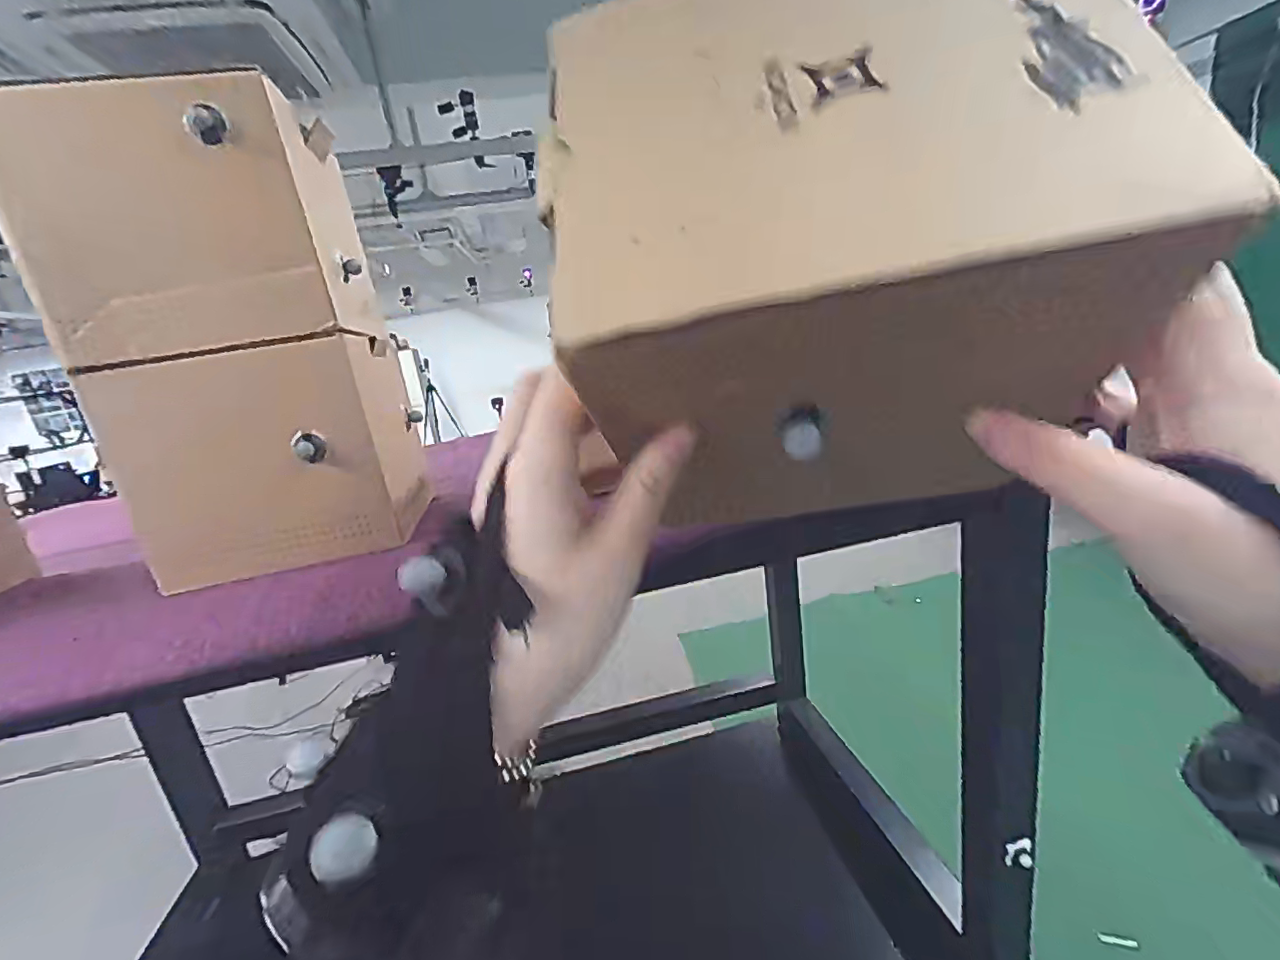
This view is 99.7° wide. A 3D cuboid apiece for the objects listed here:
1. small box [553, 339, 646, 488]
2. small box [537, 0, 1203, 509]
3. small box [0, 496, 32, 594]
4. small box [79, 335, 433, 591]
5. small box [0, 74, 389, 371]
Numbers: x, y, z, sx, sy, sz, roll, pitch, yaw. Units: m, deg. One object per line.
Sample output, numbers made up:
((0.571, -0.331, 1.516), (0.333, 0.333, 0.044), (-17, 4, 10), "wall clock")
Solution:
((0.012, -0.096, 0.543), (0.179, 0.176, 0.168), (-11, 13, -7), "small box")
((0.068, -0.097, 0.250), (0.179, 0.168, 0.176), (-9, -25, 11), "small box")
((-0.621, 0.043, 0.388), (0.168, 0.176, 0.179), (-10, 15, -11), "small box")
((-0.295, -0.025, 0.470), (0.179, 0.176, 0.168), (-12, 15, -9), "small box")
((-0.326, -0.181, 0.430), (0.179, 0.176, 0.168), (-12, 14, -11), "small box")
